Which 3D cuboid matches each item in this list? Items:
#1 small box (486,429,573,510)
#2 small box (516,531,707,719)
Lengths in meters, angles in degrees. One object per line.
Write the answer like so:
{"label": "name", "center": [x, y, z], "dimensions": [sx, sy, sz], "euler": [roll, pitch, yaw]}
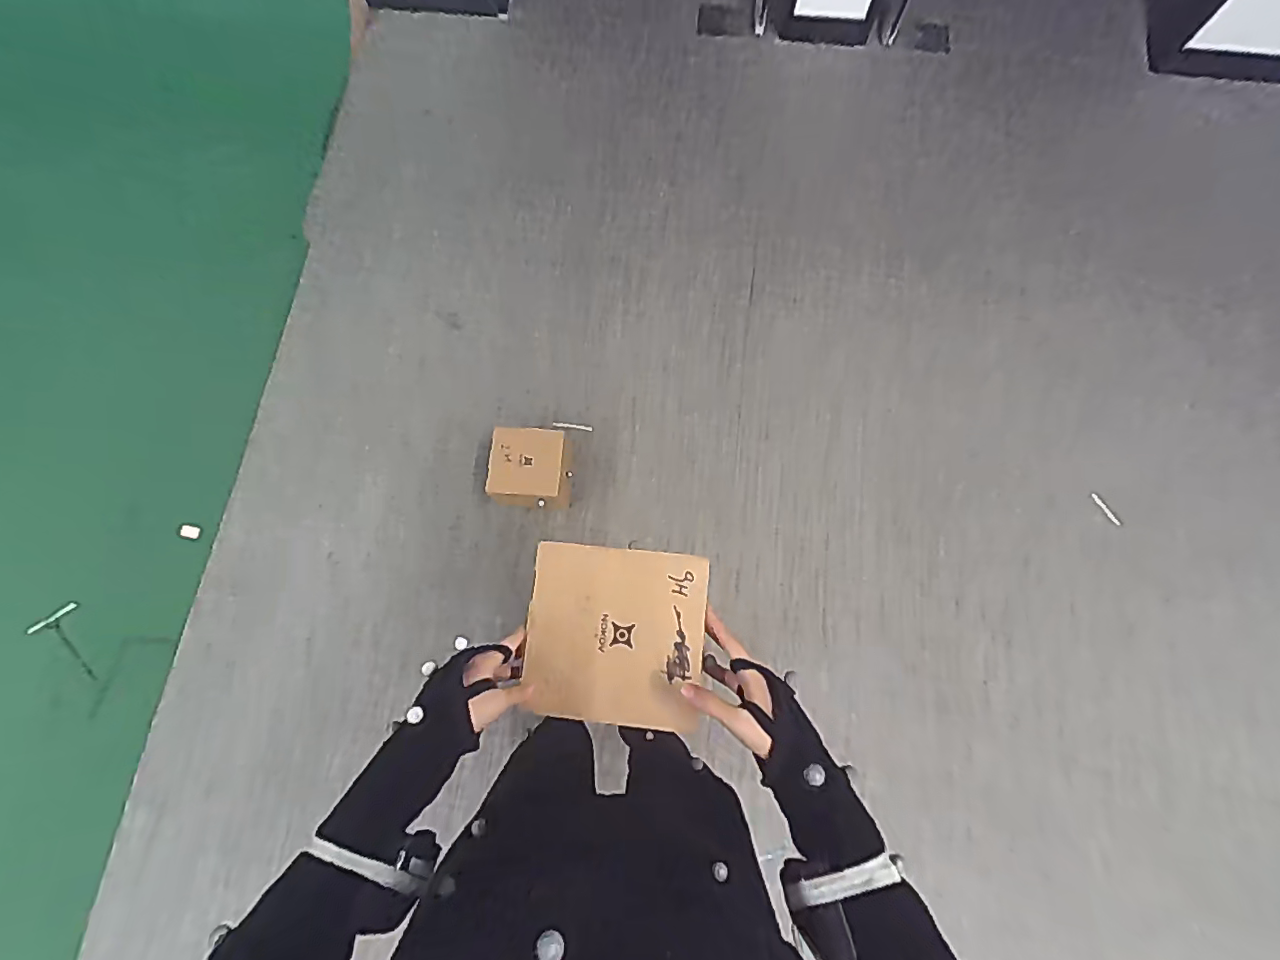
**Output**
{"label": "small box", "center": [-0.272, -0.021, 1.377], "dimensions": [0.179, 0.176, 0.168], "euler": [4, 76, 3]}
{"label": "small box", "center": [-0.020, 0.157, 0.615], "dimensions": [0.179, 0.176, 0.168], "euler": [5, 79, 6]}
